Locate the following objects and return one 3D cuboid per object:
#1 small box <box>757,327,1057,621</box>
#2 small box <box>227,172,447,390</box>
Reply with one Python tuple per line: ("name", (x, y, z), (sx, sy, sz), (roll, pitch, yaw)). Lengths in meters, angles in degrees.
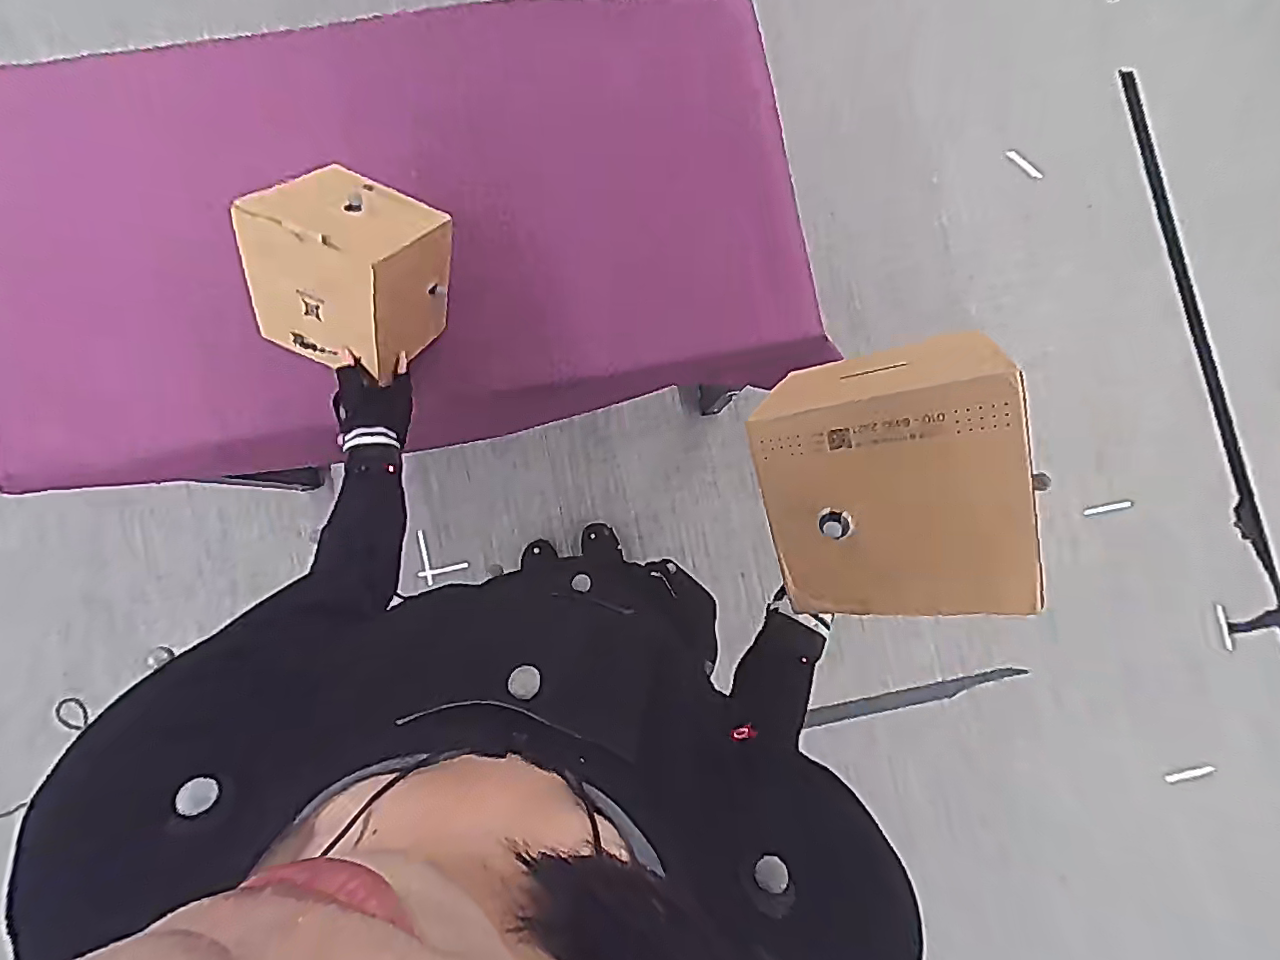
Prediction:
("small box", (0.202, -0.009, 0.425), (0.168, 0.179, 0.176), (-7, 108, 29))
("small box", (-0.361, -0.253, 0.680), (0.168, 0.179, 0.176), (25, 45, -1))
